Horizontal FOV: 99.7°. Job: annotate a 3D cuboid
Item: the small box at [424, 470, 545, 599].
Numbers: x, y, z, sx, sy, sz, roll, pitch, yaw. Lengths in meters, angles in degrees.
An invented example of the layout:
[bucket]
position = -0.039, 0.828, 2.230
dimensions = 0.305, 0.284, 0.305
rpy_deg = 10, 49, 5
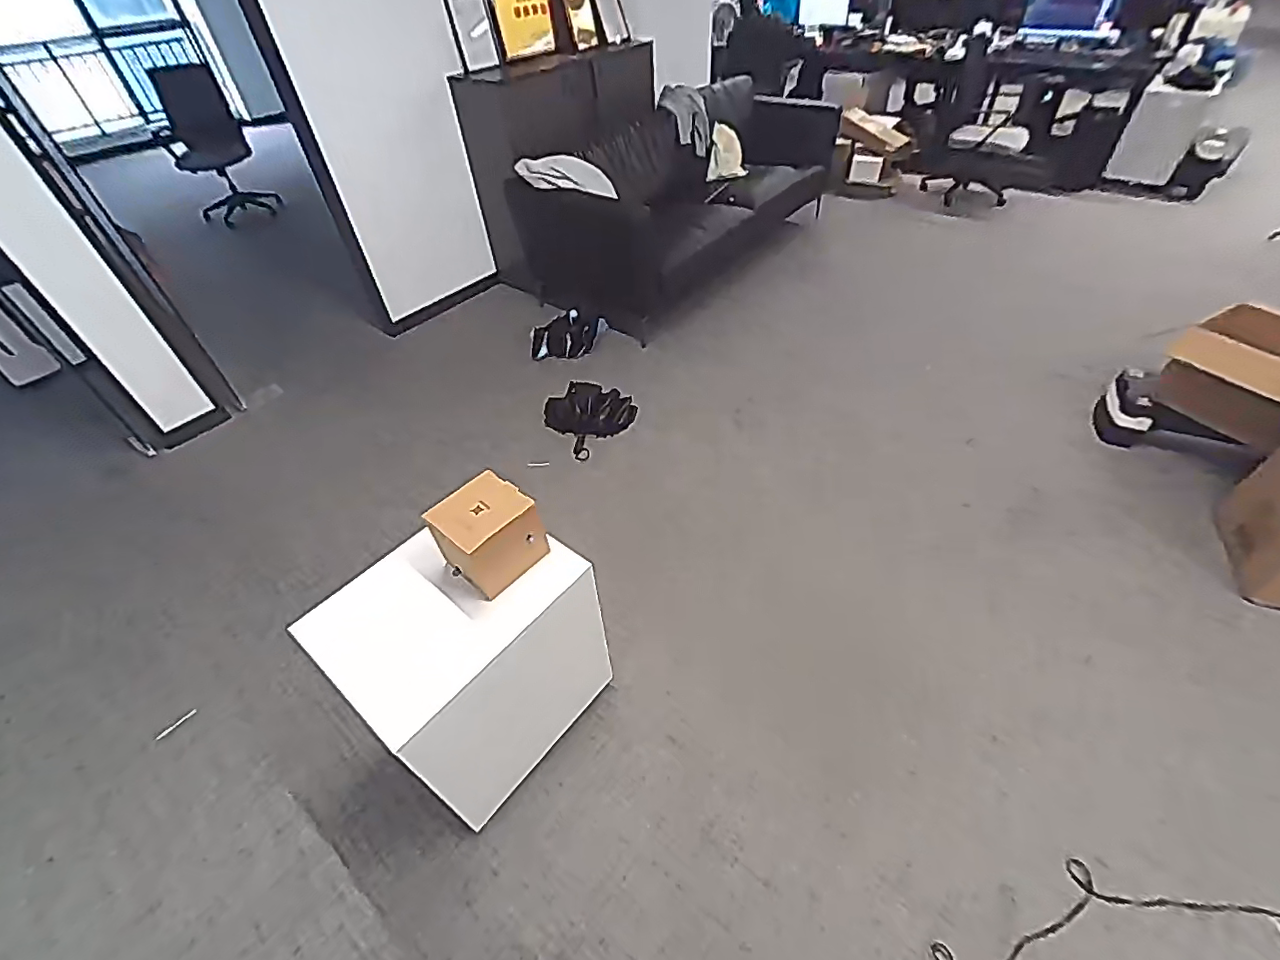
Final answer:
[small box]
position = -0.322, 0.116, 1.162
dimensions = 0.168, 0.176, 0.179
rpy_deg = 29, 55, 30
